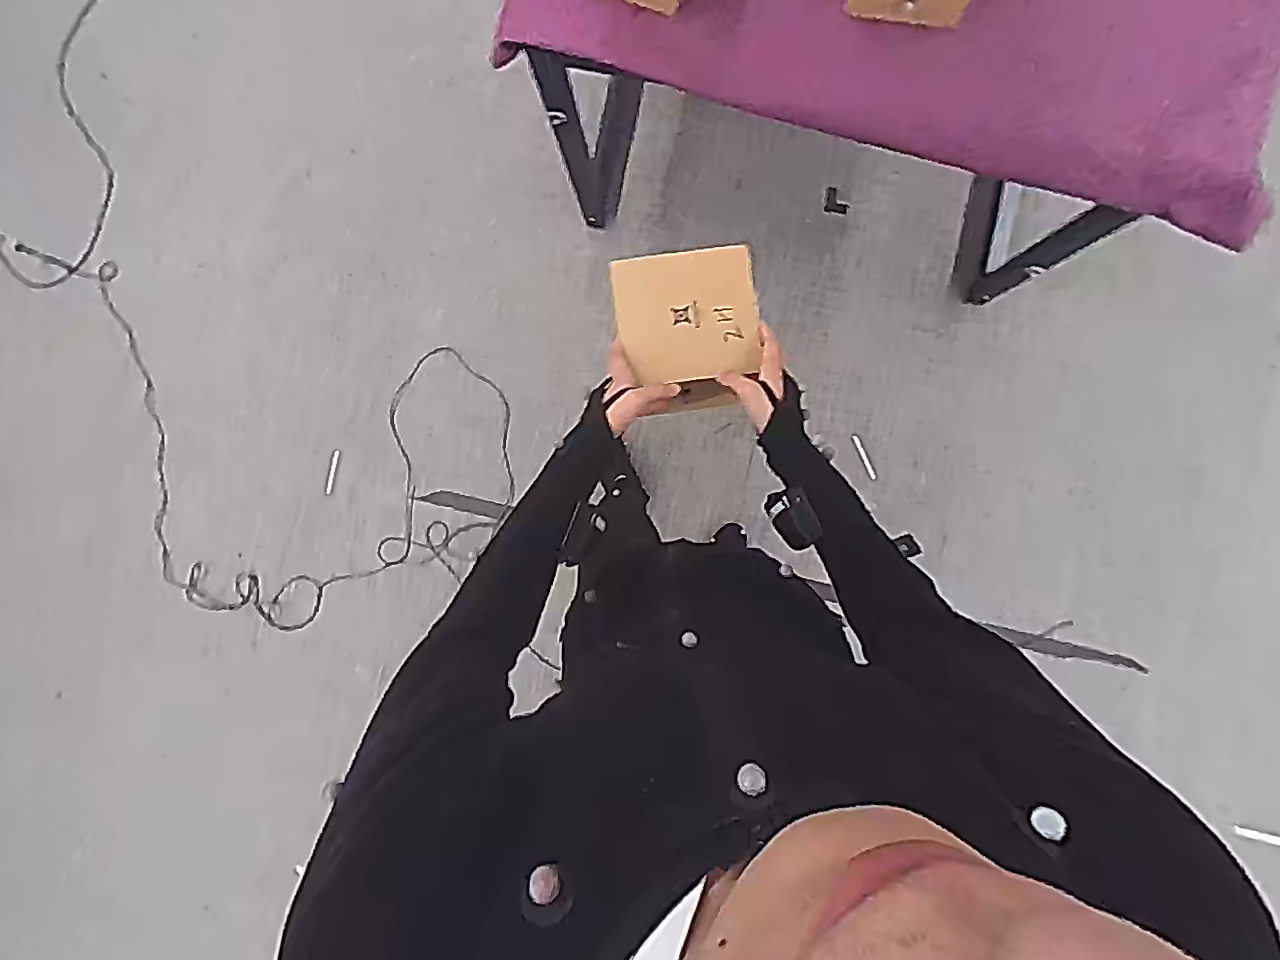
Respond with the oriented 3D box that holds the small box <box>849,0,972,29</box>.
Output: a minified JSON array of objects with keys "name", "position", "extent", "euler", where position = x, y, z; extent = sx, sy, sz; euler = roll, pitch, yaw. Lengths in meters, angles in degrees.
[{"name":"small box","position":[0.429,-0.807,0.784],"extent":[0.179,0.176,0.168],"euler":[10,90,3]}]

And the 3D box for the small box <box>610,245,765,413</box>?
[{"name":"small box","position":[0.058,-0.194,0.740],"extent":[0.179,0.176,0.168],"euler":[-7,85,-1]}]

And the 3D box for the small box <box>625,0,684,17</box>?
[{"name":"small box","position":[0.015,-0.864,0.806],"extent":[0.168,0.176,0.179],"euler":[22,92,3]}]
